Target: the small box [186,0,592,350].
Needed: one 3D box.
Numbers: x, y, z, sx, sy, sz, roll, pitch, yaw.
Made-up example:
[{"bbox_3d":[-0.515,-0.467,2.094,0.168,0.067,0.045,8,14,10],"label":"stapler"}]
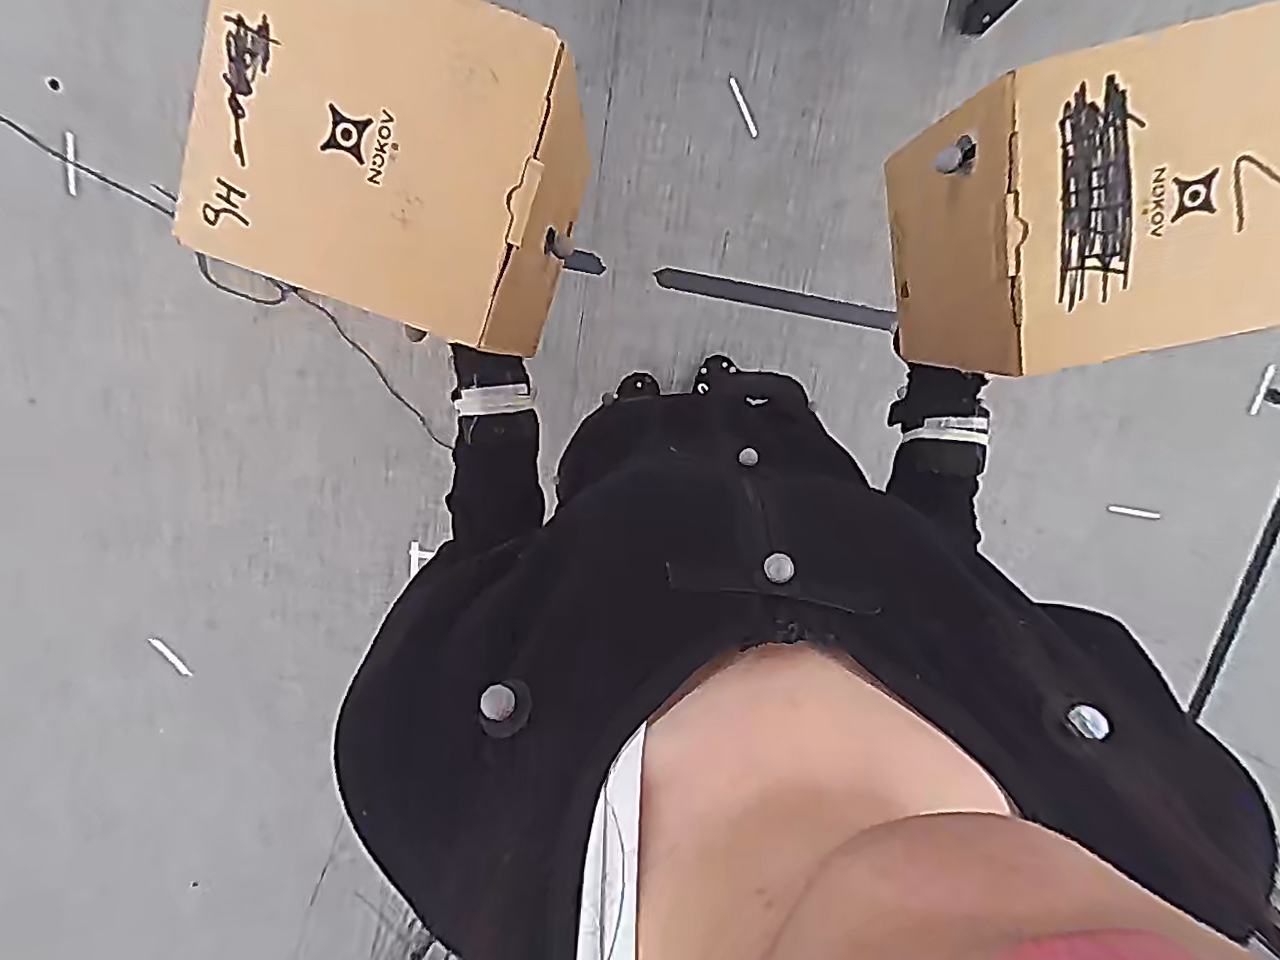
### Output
[{"bbox_3d":[-0.138,-0.194,0.361,0.179,0.176,0.168,19,101,-5],"label":"small box"}]
